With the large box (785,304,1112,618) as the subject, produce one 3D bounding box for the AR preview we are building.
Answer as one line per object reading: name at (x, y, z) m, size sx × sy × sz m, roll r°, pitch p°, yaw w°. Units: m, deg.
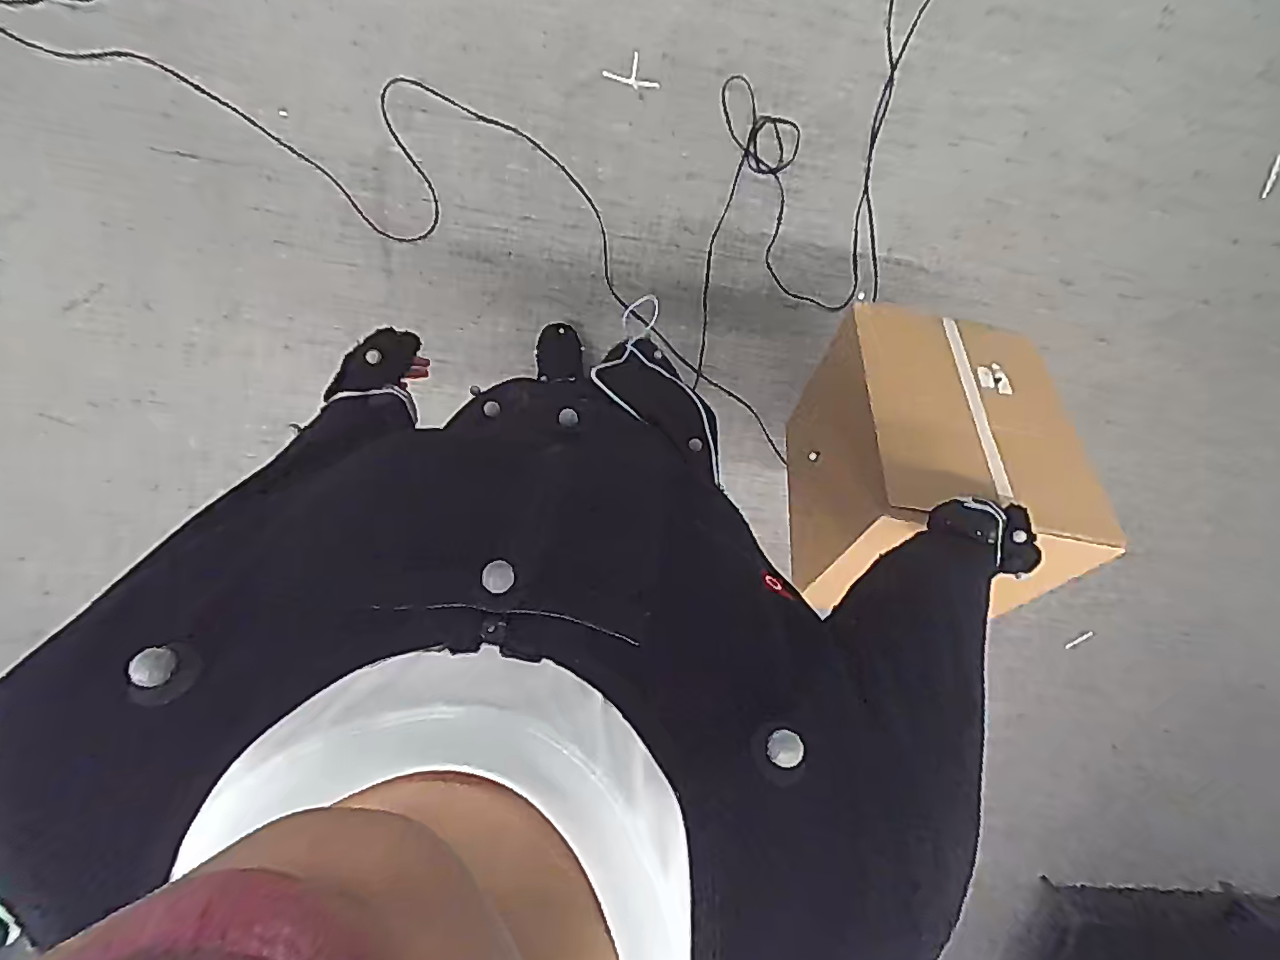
large box at (0.452, -0.023, 0.912) m, size 0.320 × 0.408 × 0.320 m, roll 11°, pitch 145°, yaw -4°
